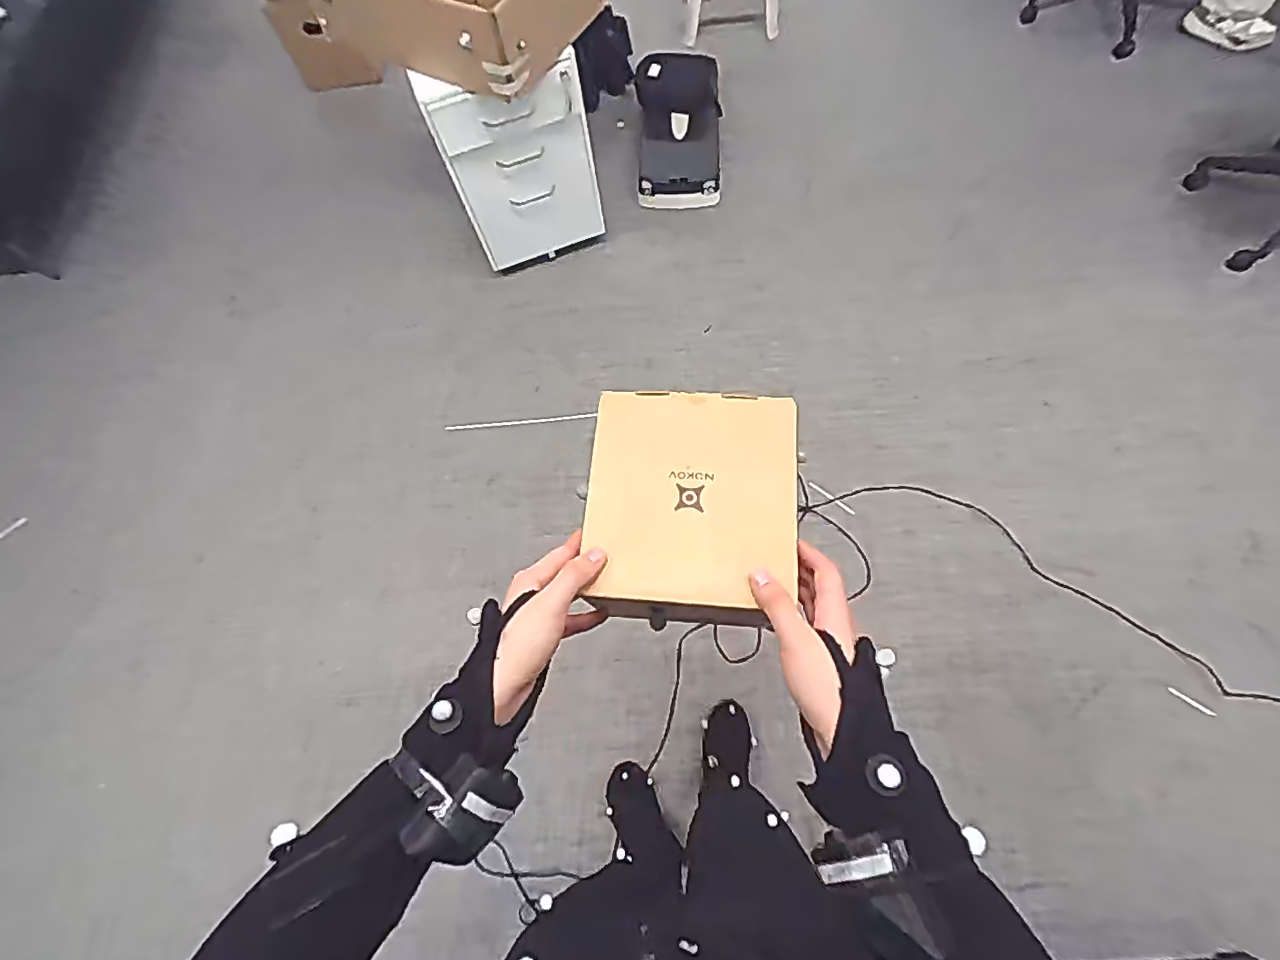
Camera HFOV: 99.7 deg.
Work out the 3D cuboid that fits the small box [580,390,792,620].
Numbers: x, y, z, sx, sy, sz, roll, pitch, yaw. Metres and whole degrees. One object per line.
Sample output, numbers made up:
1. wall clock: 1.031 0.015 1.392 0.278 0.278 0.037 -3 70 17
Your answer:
1. small box: 0.048 0.033 0.514 0.168 0.176 0.179 2 69 6
